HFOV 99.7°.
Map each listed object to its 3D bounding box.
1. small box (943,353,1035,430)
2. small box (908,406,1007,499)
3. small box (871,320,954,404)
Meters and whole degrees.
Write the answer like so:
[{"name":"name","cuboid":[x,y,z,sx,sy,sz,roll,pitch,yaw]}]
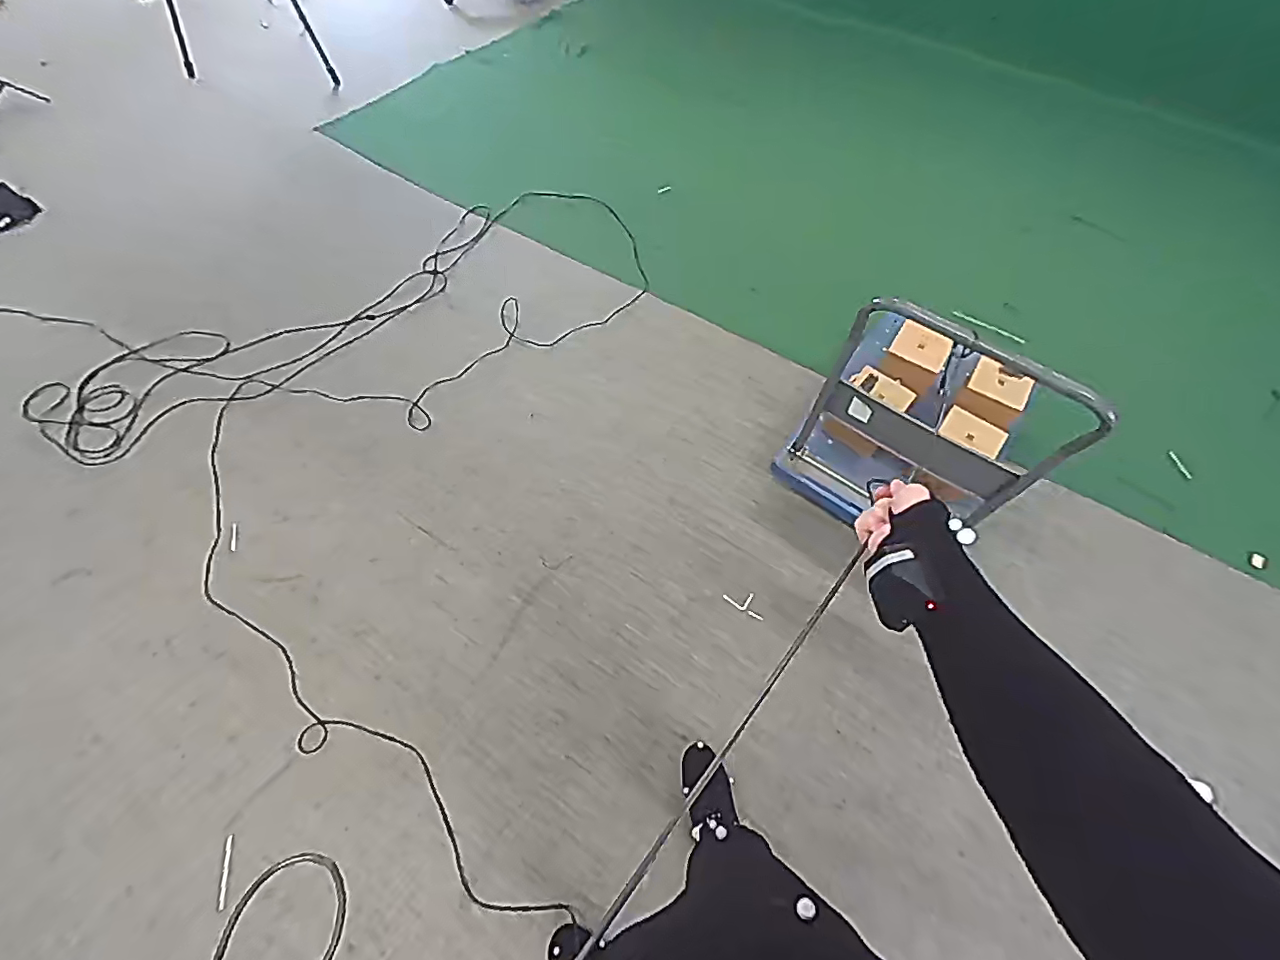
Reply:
[{"name":"small box","cuboid":[1.095,-0.260,1.707,0.168,0.176,0.179,31,64,16]},{"name":"small box","cuboid":[0.929,-0.078,1.596,0.168,0.176,0.179,35,65,18]},{"name":"small box","cuboid":[0.885,-0.383,1.774,0.168,0.176,0.179,31,63,15]}]
